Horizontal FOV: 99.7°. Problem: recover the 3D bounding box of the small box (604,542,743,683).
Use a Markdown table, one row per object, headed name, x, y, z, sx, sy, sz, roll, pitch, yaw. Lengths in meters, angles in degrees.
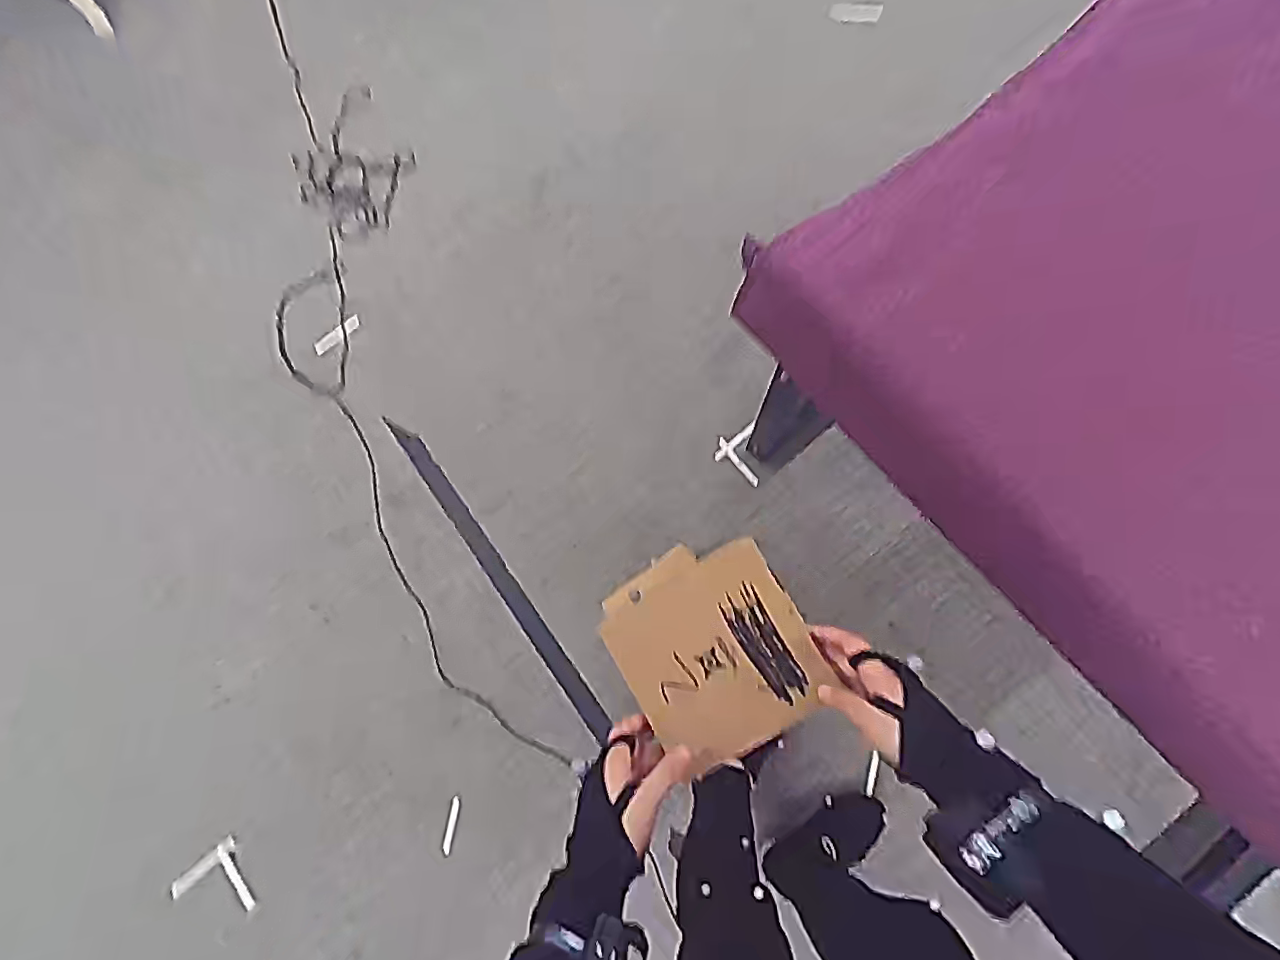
| name | x | y | z | sx | sy | sz | roll | pitch | yaw |
| --- | --- | --- | --- | --- | --- | --- | --- | --- | --- |
| small box | 0.060 | 0.229 | 0.969 | 0.179 | 0.176 | 0.168 | -38 | 78 | -1 |
